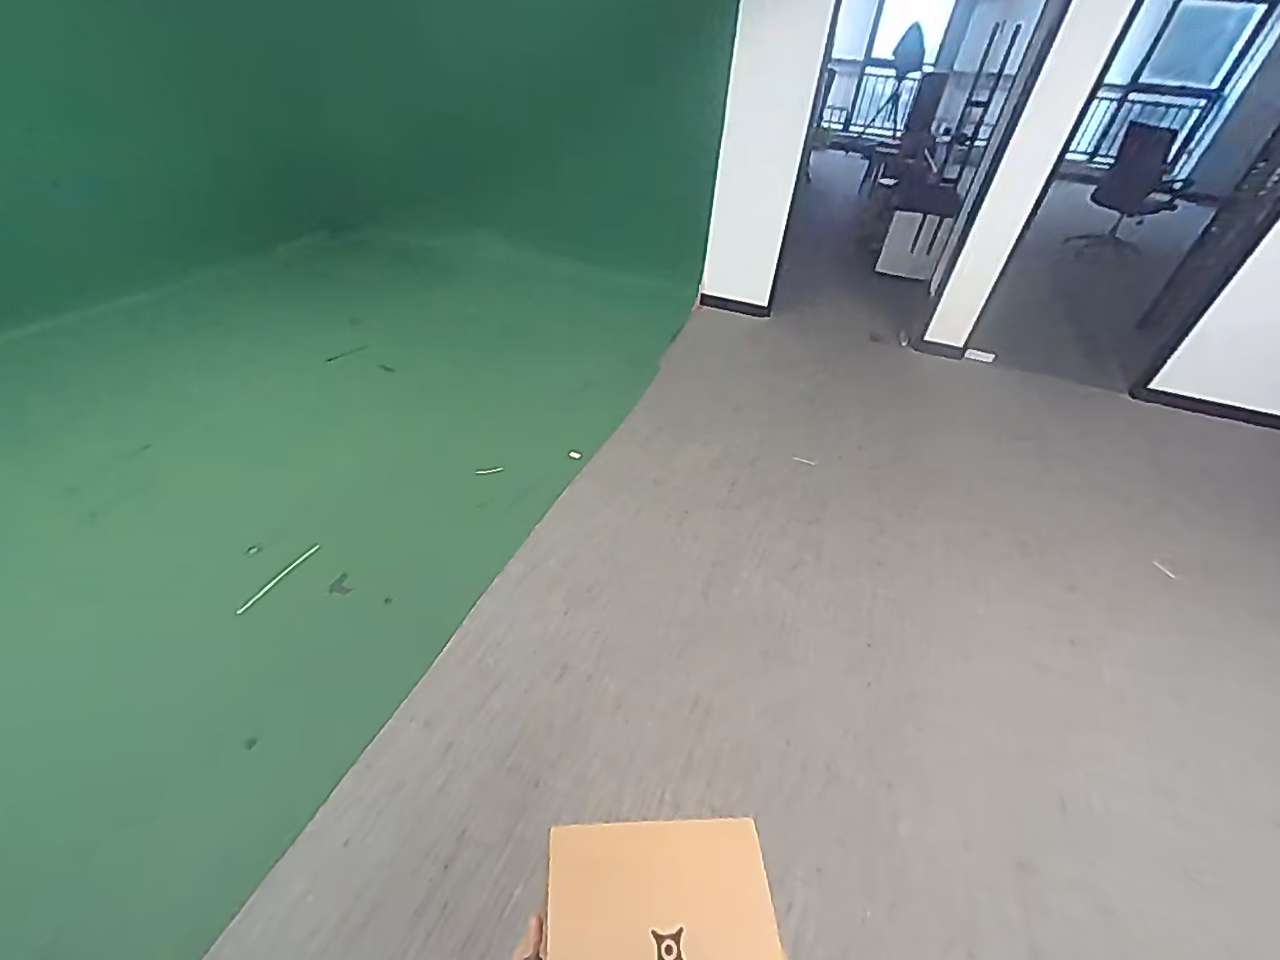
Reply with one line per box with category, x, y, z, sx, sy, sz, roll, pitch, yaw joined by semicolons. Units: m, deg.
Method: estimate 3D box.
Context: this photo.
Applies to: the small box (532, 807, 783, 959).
small box;0.003;0.379;0.416;0.168;0.176;0.179;5;41;-10
